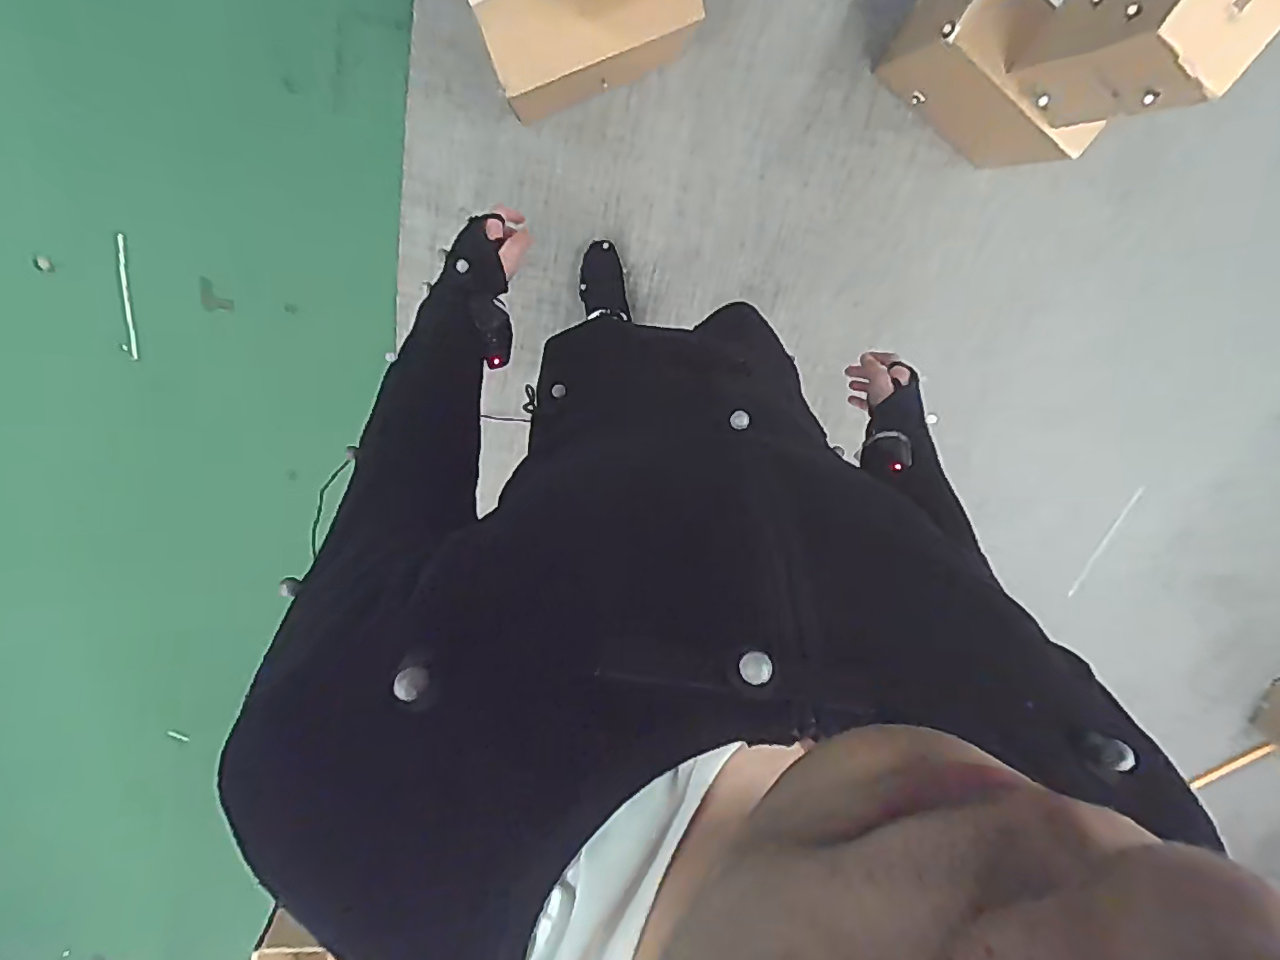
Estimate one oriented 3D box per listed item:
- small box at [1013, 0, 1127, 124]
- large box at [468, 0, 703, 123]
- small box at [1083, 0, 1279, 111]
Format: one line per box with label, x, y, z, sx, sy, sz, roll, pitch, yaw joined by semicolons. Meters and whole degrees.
small box;0.845;-0.795;0.989;0.168;0.176;0.179;30;111;-18
large box;-0.126;-0.981;1.082;0.408;0.320;0.320;-19;114;5
small box;0.852;-0.719;0.845;0.168;0.176;0.179;28;111;-18
